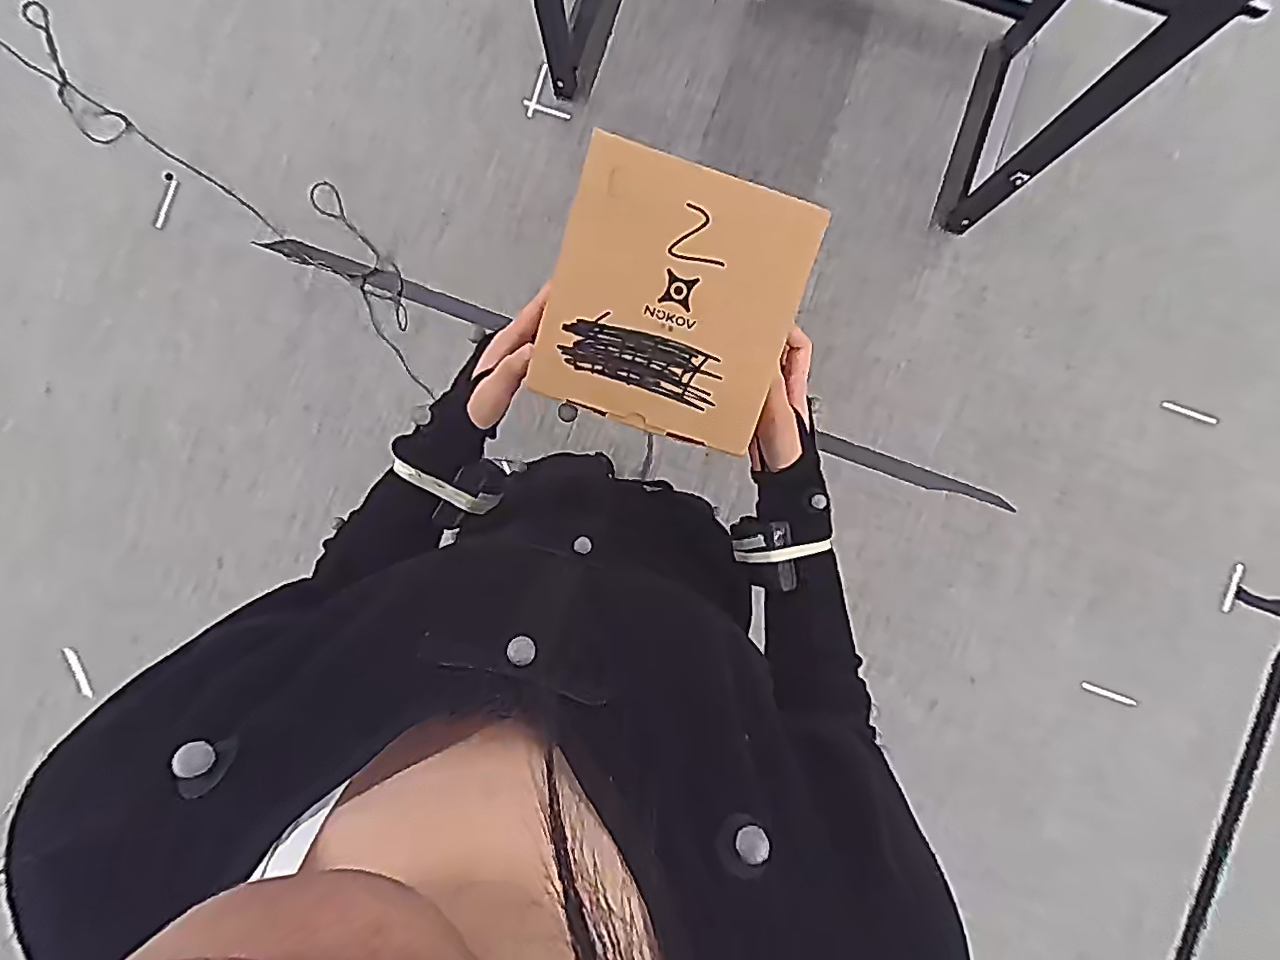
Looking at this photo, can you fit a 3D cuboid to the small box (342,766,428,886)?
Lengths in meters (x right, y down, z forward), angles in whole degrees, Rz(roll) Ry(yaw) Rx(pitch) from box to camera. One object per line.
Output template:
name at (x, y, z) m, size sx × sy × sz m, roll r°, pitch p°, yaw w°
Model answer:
small box at (-0.674, 0.885, 1.399) m, size 0.168 × 0.176 × 0.179 m, roll 18°, pitch 89°, yaw -1°

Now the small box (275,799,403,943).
small box at (-0.675, 0.882, 1.236) m, size 0.168 × 0.176 × 0.179 m, roll 22°, pitch 88°, yaw 0°
